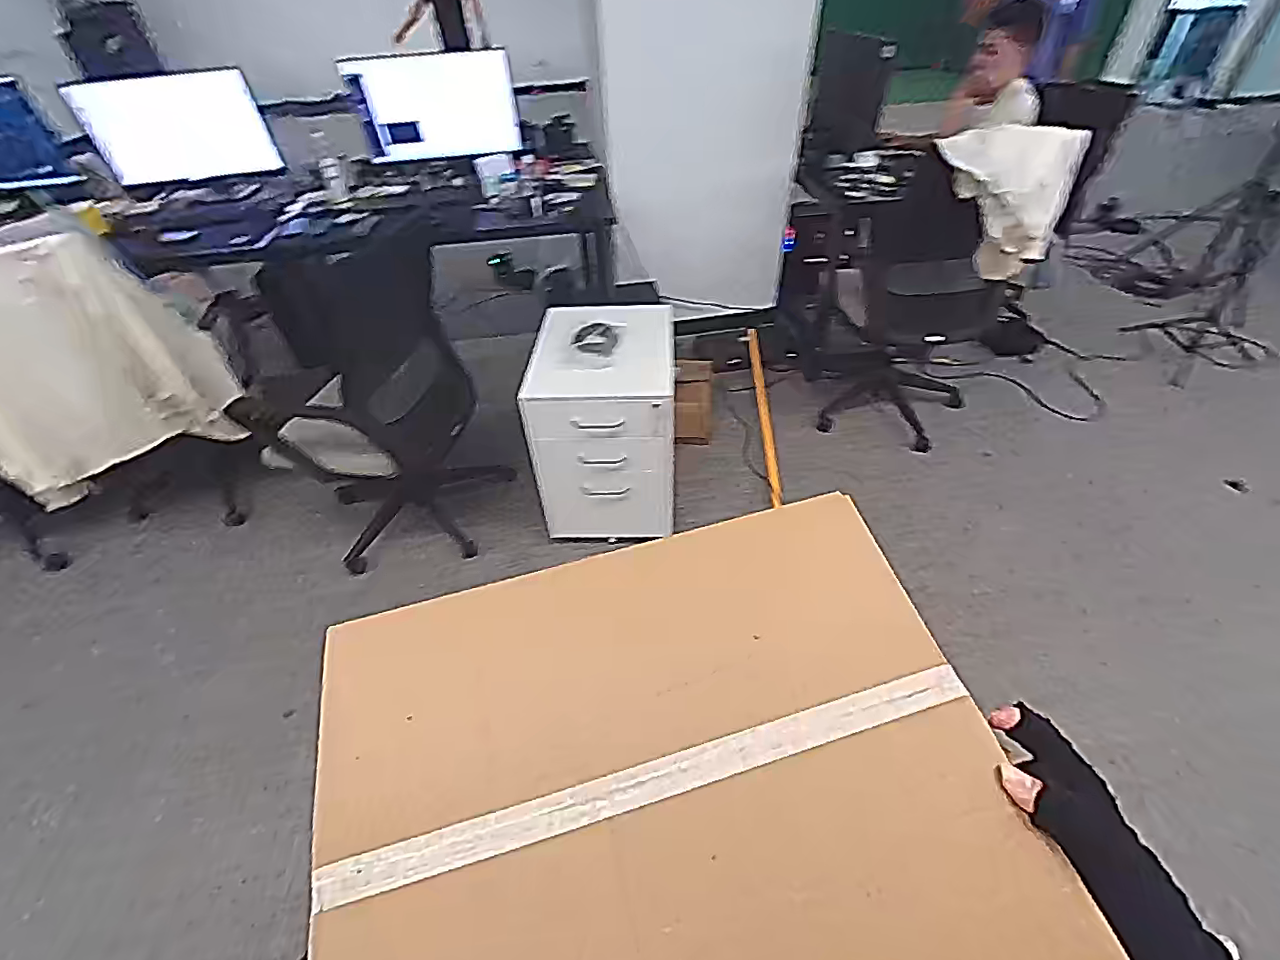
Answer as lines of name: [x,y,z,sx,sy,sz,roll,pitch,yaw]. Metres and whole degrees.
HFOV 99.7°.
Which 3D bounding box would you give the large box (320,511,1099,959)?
large box: [0.017,0.278,0.454,0.408,0.320,0.320,-15,55,-7]
